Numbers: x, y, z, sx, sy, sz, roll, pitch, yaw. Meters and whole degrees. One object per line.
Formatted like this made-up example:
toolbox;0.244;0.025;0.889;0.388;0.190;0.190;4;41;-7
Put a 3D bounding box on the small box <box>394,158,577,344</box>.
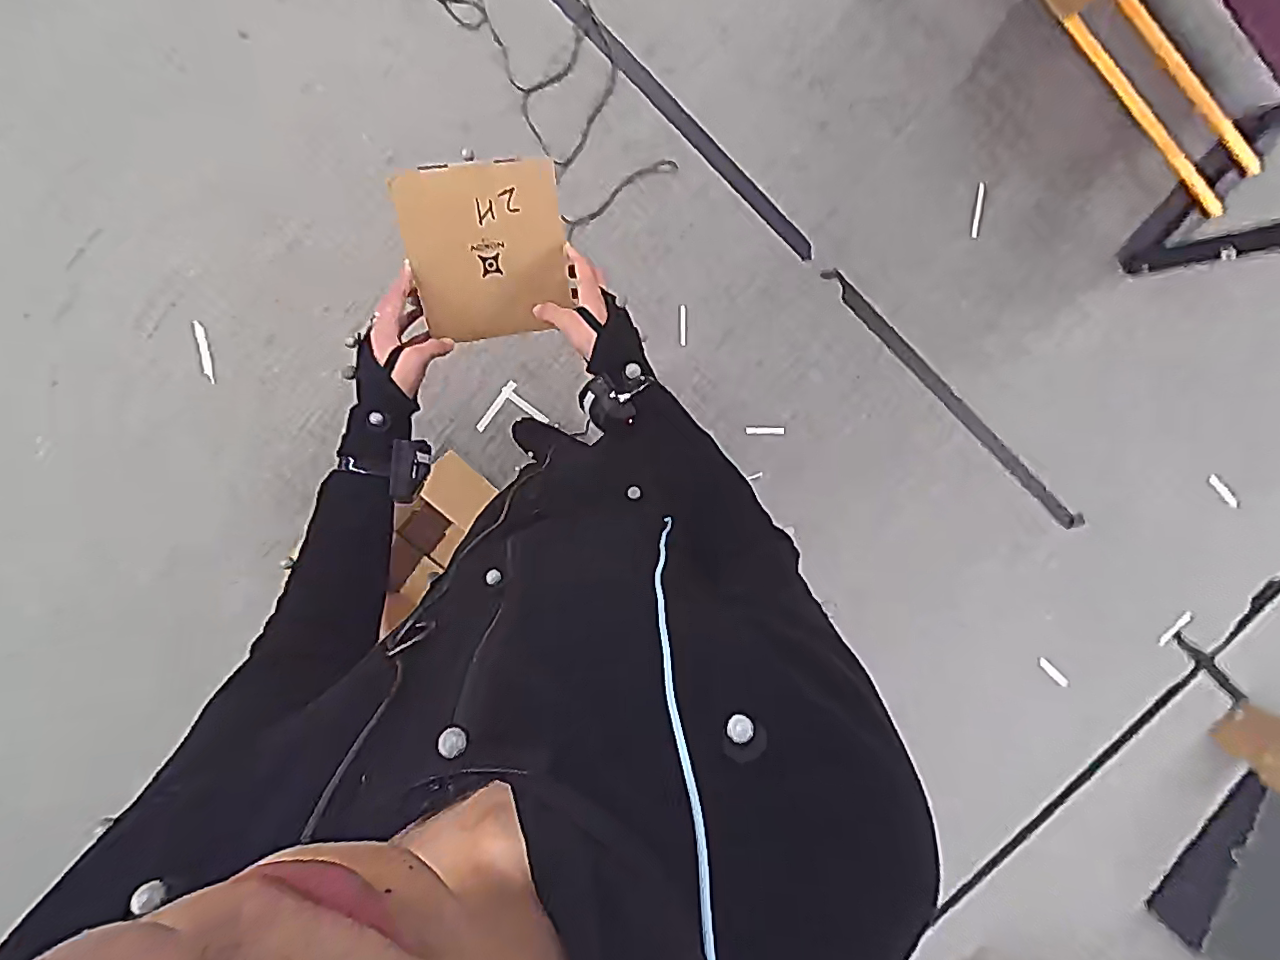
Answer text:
small box;-0.177;-0.279;0.645;0.168;0.176;0.179;-12;122;-12
